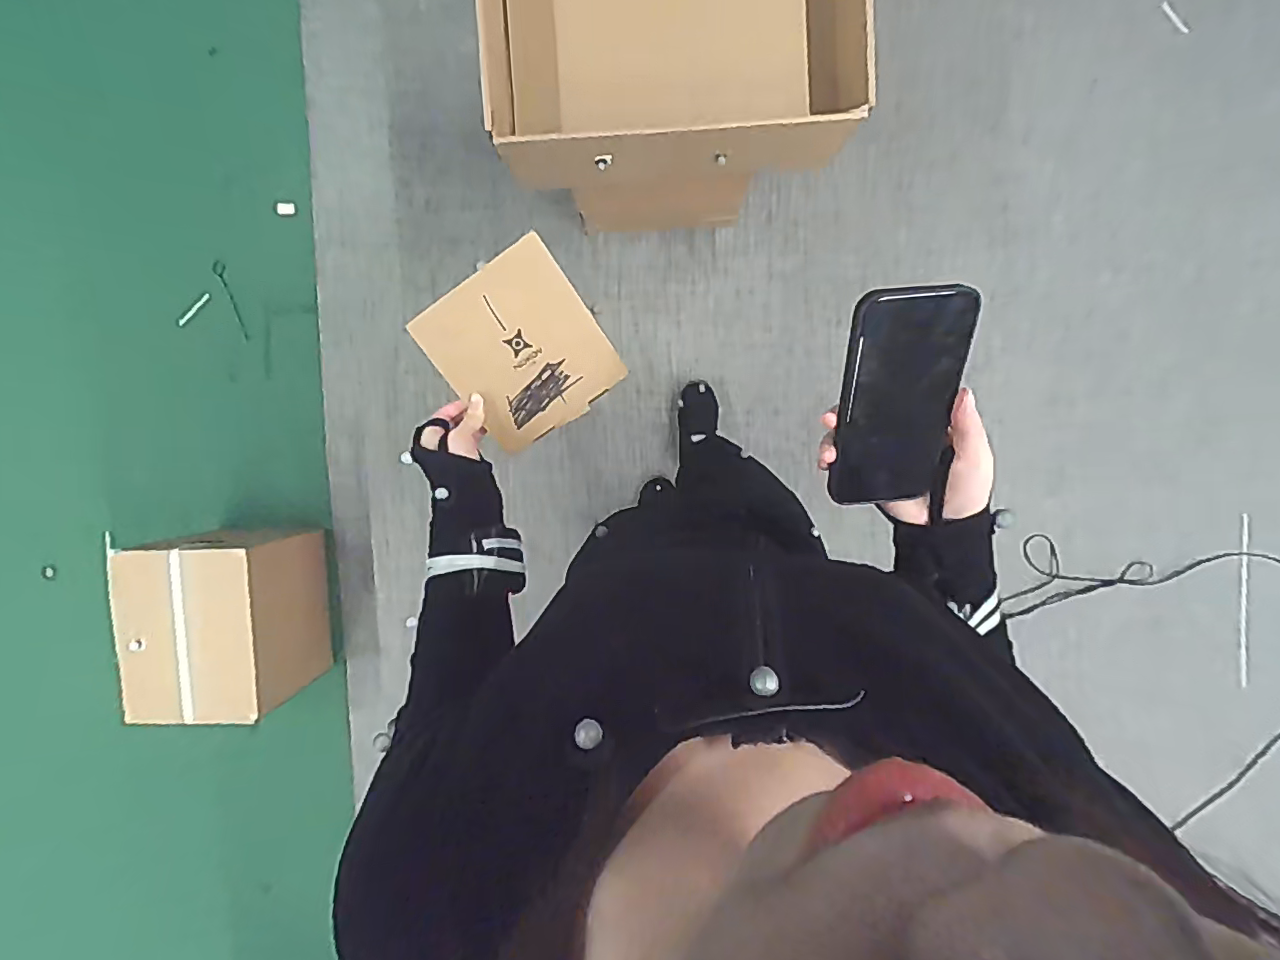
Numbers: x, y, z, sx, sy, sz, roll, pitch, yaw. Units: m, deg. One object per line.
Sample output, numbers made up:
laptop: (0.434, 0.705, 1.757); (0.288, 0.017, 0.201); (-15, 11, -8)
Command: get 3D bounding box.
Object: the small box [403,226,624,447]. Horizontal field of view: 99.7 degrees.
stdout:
small box: (-0.136, -0.171, 0.642); (0.168, 0.176, 0.179); (-34, 110, 6)
